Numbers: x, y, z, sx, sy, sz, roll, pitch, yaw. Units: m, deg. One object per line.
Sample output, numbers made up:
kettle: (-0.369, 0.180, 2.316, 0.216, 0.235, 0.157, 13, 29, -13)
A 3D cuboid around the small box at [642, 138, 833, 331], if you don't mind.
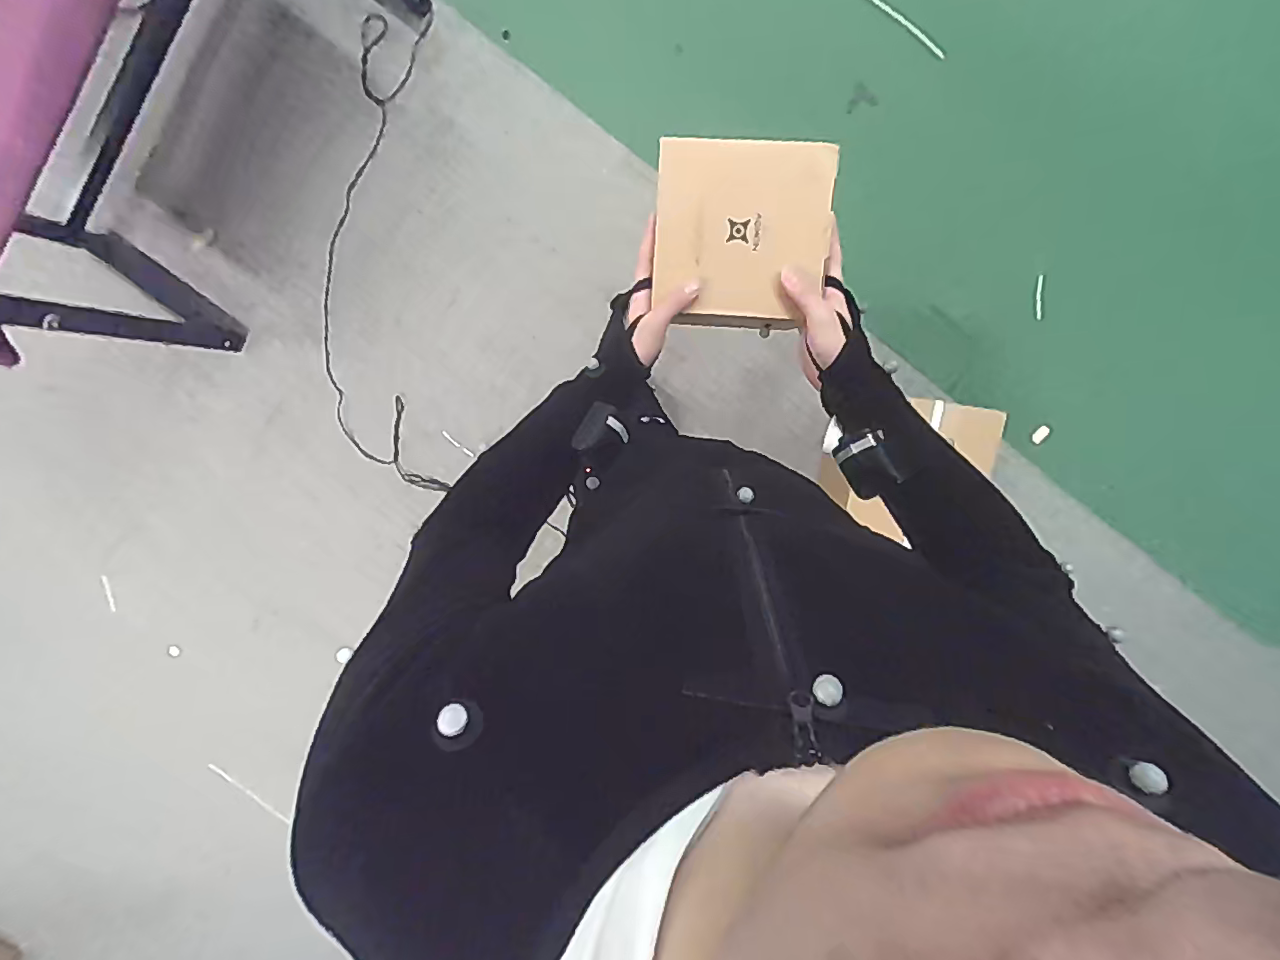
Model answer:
small box: (0.098, -0.261, 0.611, 0.179, 0.176, 0.168, 4, 102, 4)
